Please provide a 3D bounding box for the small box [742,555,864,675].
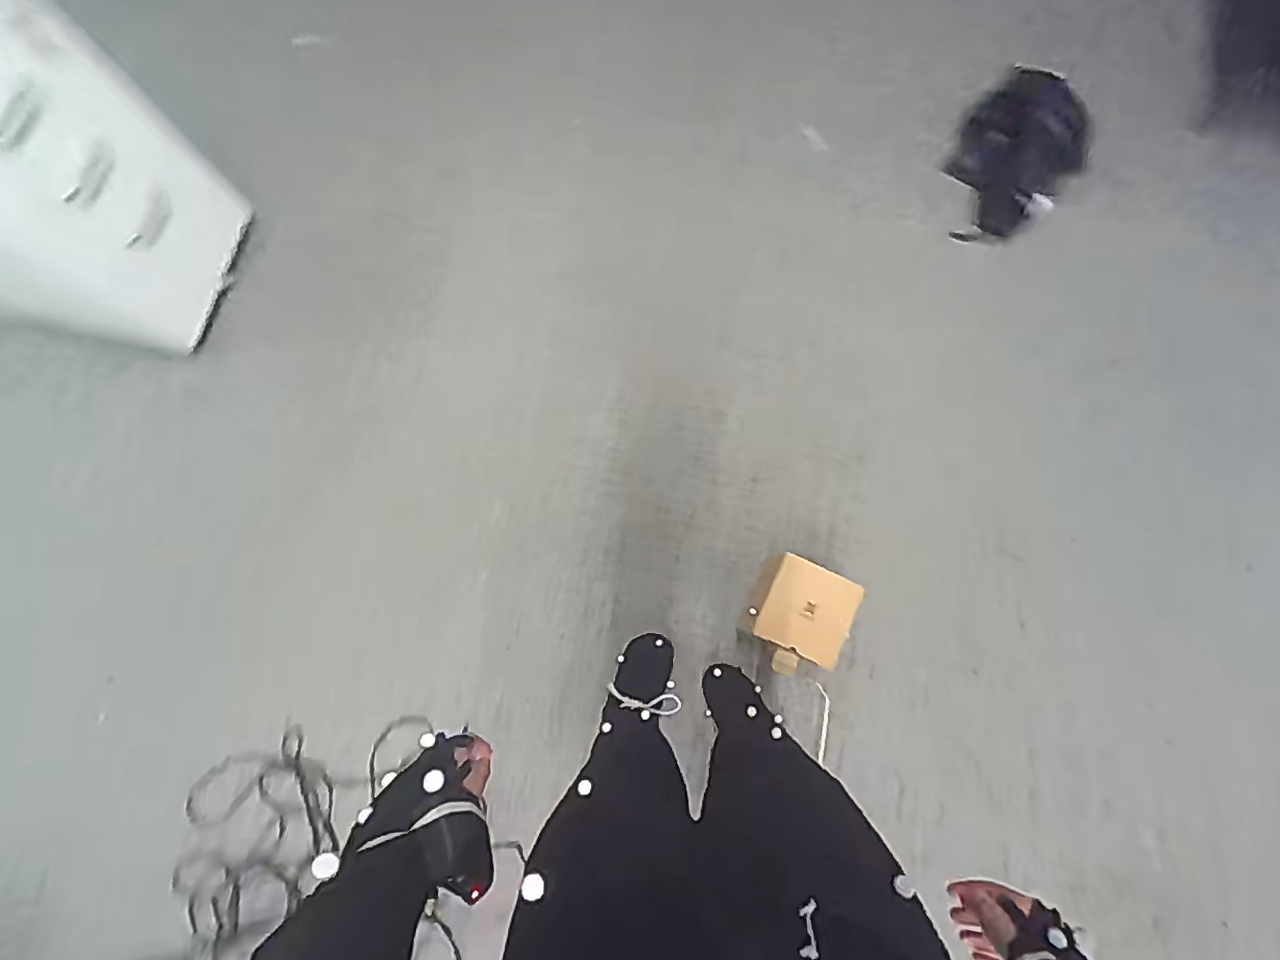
[{"bbox_3d":[0.324,0.272,1.115,0.168,0.176,0.179,26,80,5],"label":"small box"}]
